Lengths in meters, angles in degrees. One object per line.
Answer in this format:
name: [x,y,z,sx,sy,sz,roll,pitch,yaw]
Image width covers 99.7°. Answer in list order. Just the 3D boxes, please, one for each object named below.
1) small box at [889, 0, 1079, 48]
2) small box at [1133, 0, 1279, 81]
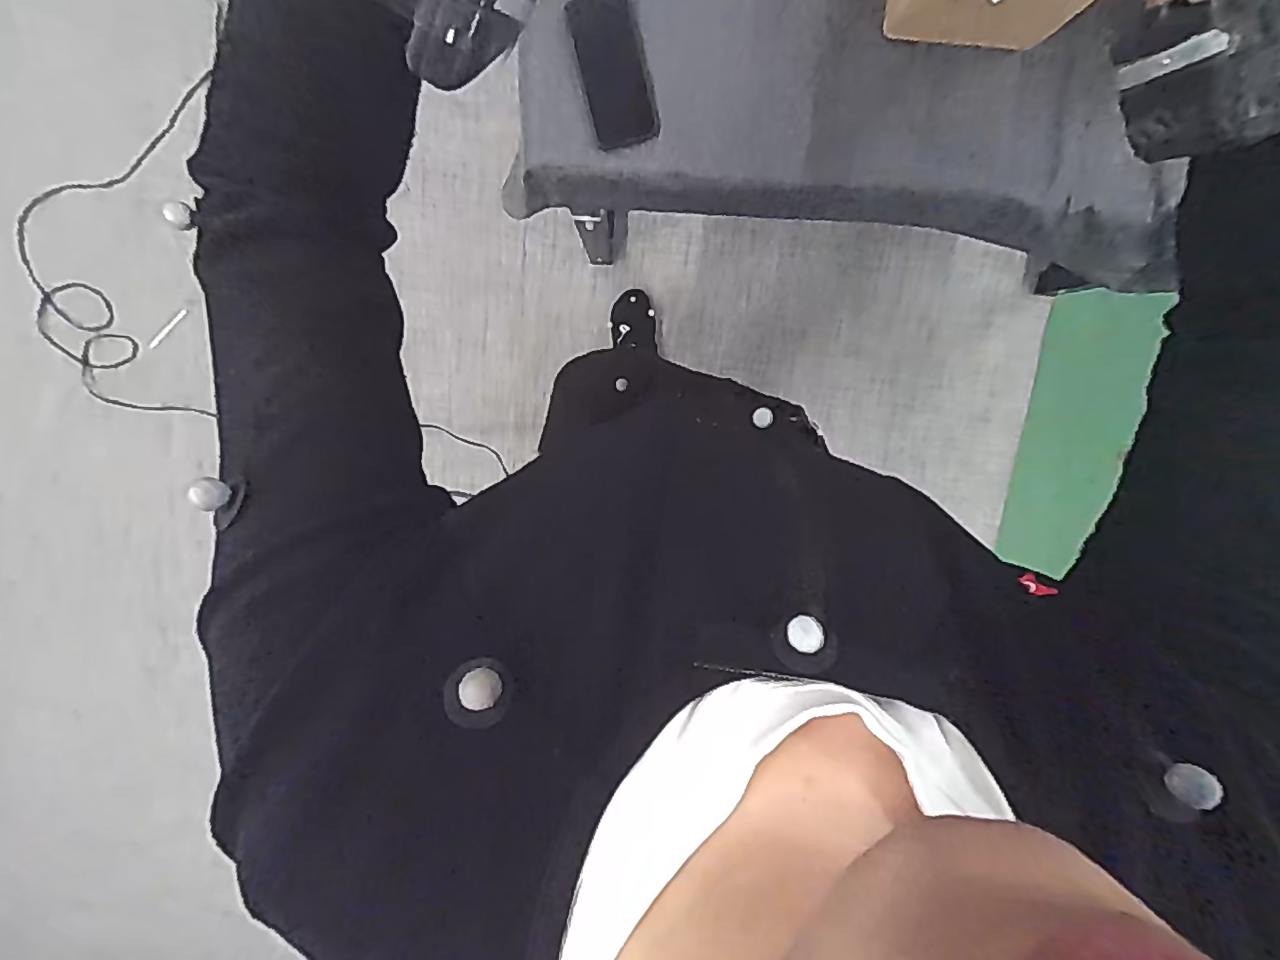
small box: [0.370,-0.564,0.528,0.179,0.176,0.168,4,102,-1]
small box: [0.655,-0.540,0.538,0.168,0.176,0.179,5,100,-2]
